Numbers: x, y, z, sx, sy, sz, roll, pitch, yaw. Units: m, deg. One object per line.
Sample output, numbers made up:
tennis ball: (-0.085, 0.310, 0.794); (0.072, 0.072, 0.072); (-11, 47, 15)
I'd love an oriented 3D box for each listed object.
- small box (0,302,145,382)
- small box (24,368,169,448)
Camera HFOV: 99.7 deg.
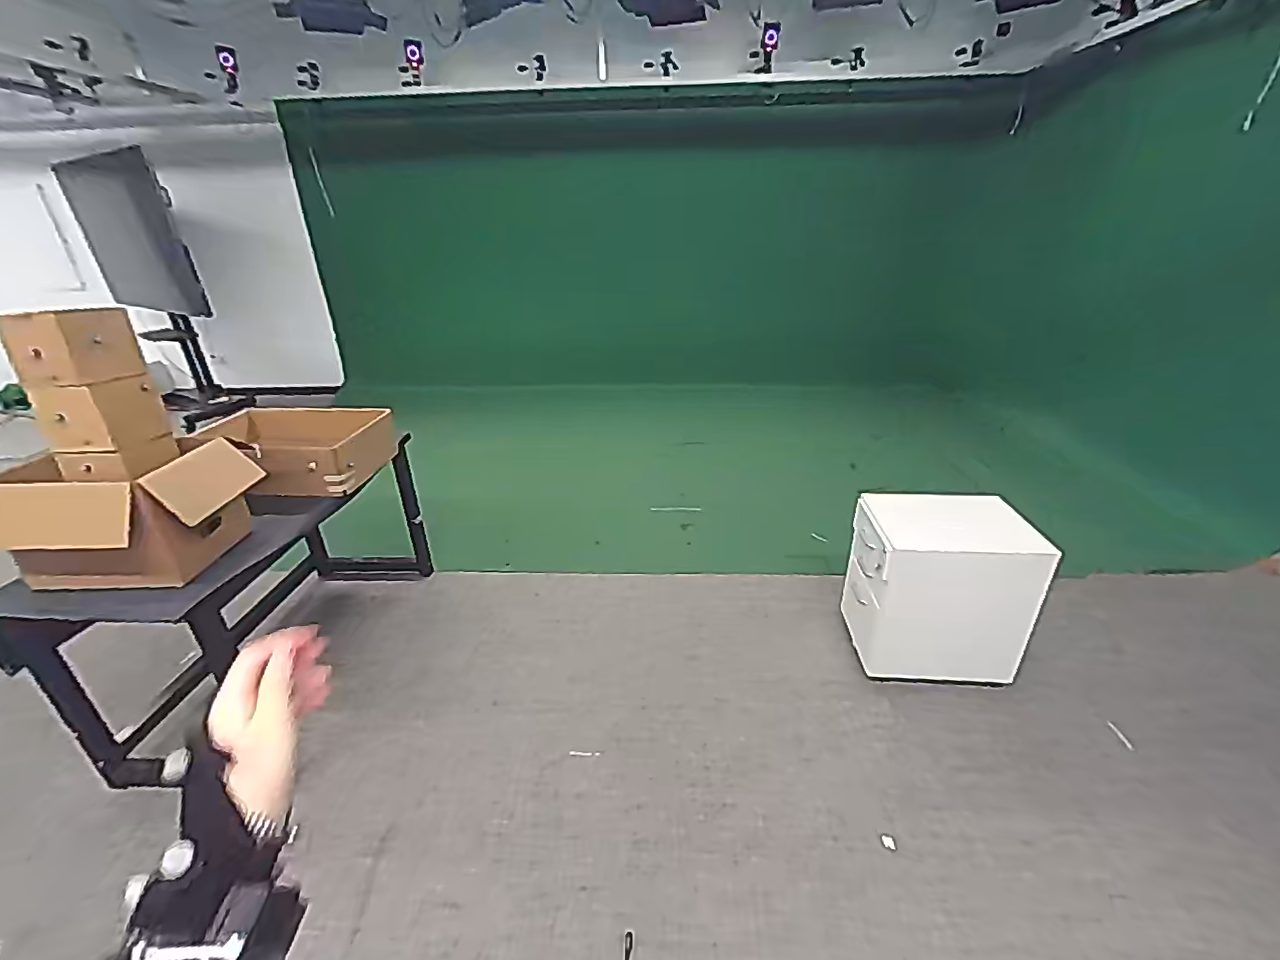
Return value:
small box: (-1.382, -0.336, 1.321); (0.168, 0.176, 0.179); (0, 22, 5)
small box: (-1.372, -0.184, 1.382); (0.168, 0.176, 0.179); (-1, 22, 4)
